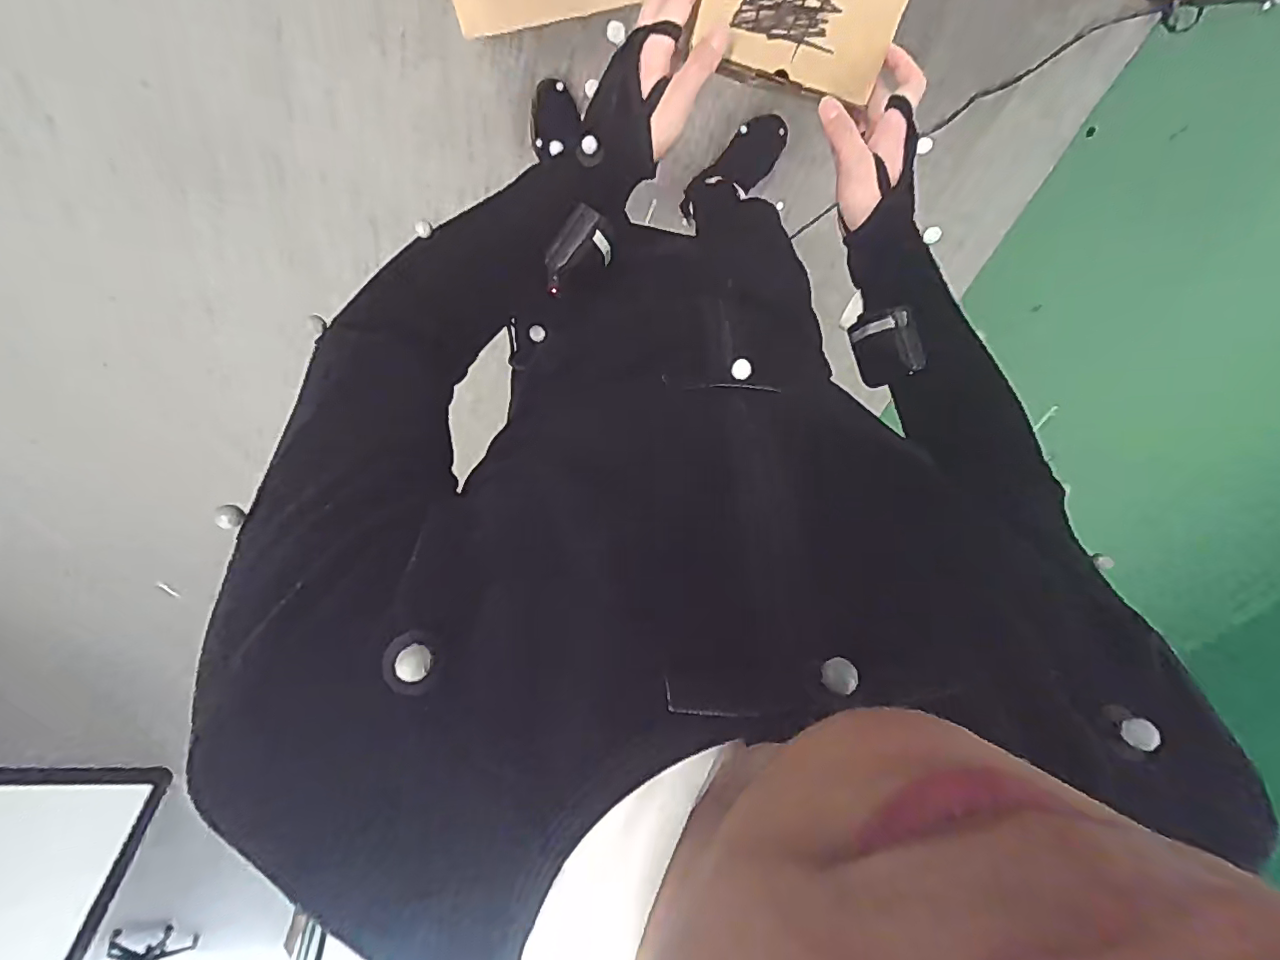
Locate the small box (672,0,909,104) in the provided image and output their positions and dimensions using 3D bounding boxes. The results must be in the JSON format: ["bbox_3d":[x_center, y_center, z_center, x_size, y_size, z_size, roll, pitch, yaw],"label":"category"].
[{"bbox_3d":[0.134,-0.457,0.471,0.168,0.176,0.179,8,124,-14],"label":"small box"}]

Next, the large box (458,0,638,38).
[{"bbox_3d":[-0.139,-0.979,0.903,0.408,0.320,0.320,-13,131,0],"label":"large box"}]
